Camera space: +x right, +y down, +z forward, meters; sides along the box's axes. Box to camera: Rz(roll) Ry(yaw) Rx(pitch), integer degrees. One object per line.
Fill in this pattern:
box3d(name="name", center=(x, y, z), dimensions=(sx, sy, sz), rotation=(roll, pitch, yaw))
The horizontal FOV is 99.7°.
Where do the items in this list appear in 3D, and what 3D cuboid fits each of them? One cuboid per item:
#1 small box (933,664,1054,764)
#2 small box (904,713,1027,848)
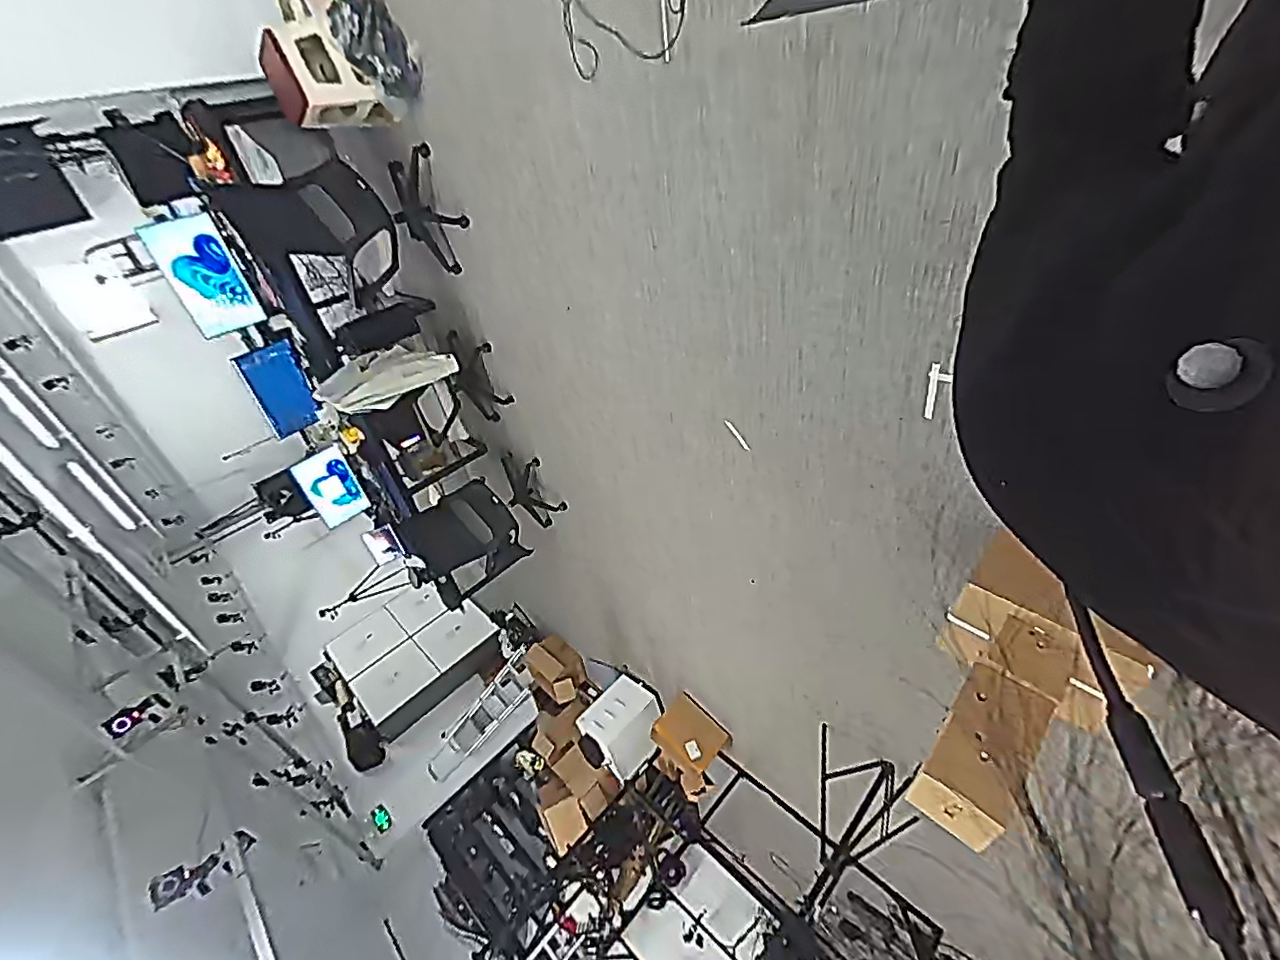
box3d(name="small box", center=(0.836, 0.569, 1.283), dimensions=(0.179, 0.176, 0.168), rotation=(28, 142, 35))
box3d(name="small box", center=(0.725, 0.665, 1.208), dimensions=(0.168, 0.176, 0.179), rotation=(30, 143, 34))
